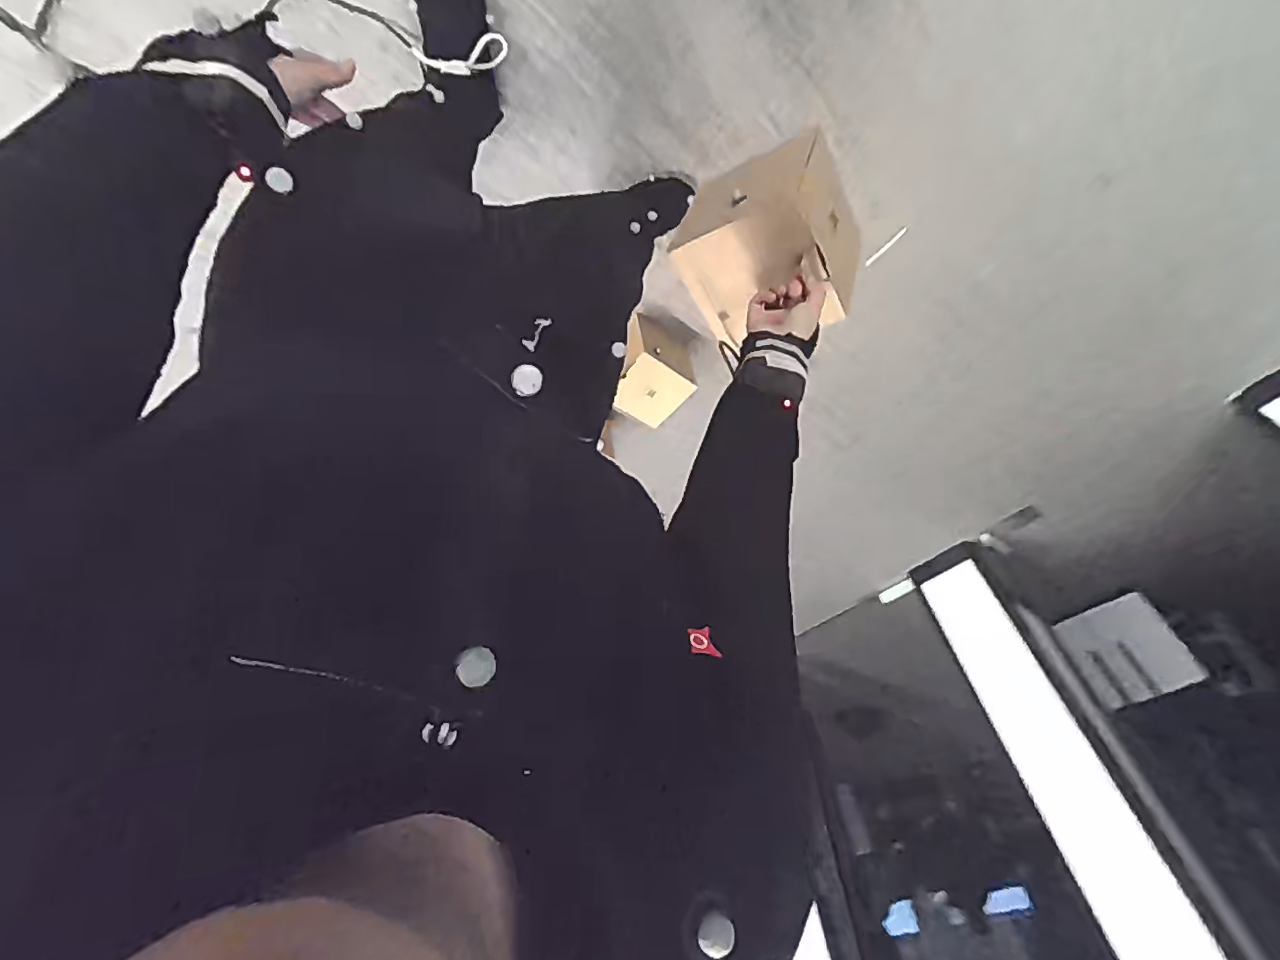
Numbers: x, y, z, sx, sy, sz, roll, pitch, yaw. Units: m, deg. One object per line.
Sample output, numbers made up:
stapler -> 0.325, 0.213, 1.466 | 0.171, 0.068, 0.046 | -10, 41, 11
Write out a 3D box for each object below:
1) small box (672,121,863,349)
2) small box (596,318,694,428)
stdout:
small box -> 0.159, -0.290, 0.669 | 0.176, 0.179, 0.168 | -9, 133, 36
small box -> 0.007, -0.267, 1.342 | 0.179, 0.176, 0.168 | 27, 128, -32
